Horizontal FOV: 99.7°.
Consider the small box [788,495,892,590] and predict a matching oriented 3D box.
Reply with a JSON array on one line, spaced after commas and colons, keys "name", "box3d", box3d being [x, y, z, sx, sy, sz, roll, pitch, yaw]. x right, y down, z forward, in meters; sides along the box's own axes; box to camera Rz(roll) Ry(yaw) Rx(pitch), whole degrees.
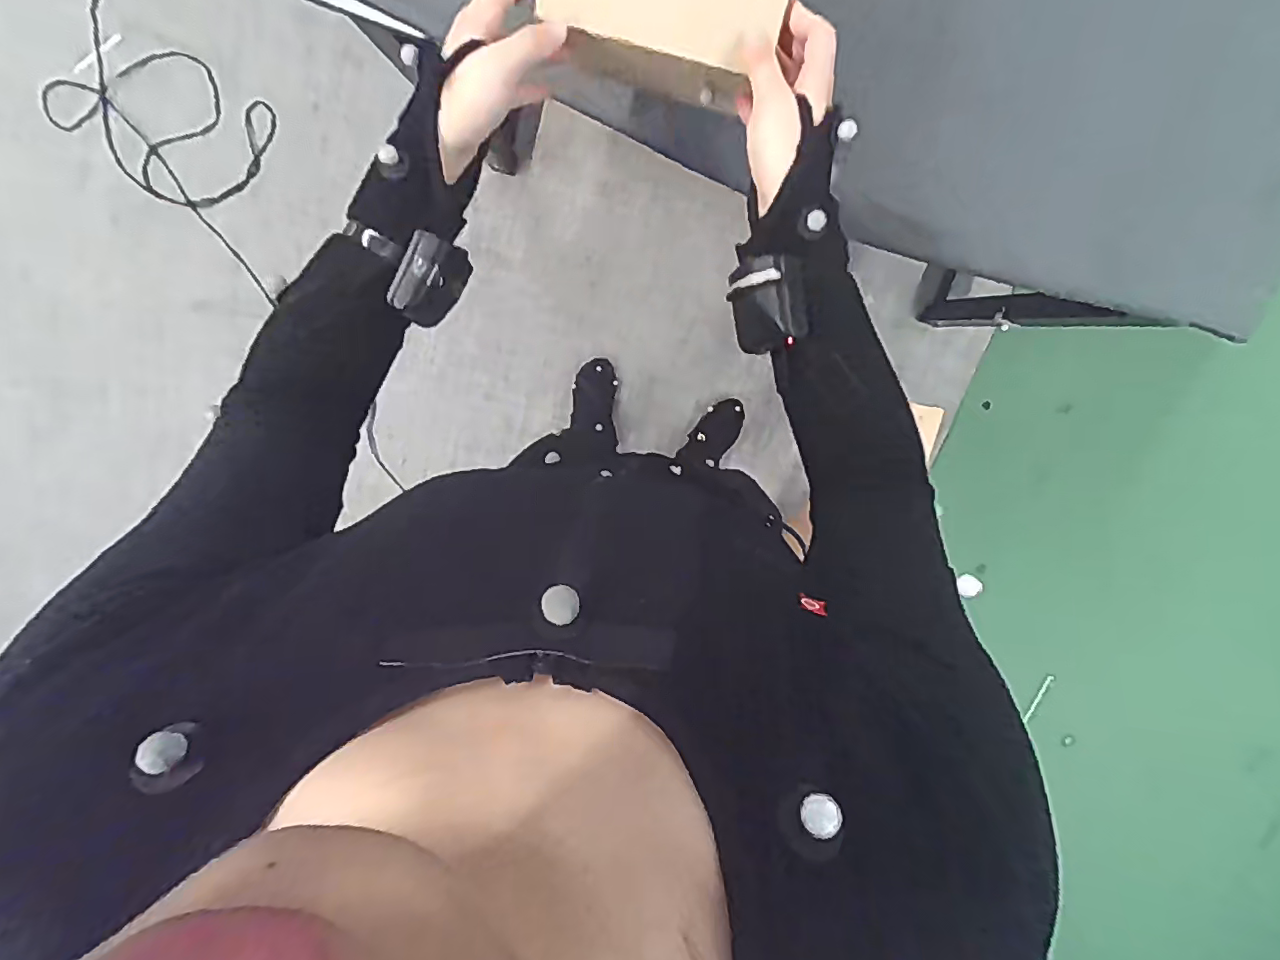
[{"name": "small box", "box3d": [0.527, 0.160, 1.452, 0.179, 0.176, 0.168, 26, 105, -7]}]

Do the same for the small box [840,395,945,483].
[{"name": "small box", "box3d": [0.630, -0.108, 1.377, 0.168, 0.176, 0.179, 9, 105, -3]}]
